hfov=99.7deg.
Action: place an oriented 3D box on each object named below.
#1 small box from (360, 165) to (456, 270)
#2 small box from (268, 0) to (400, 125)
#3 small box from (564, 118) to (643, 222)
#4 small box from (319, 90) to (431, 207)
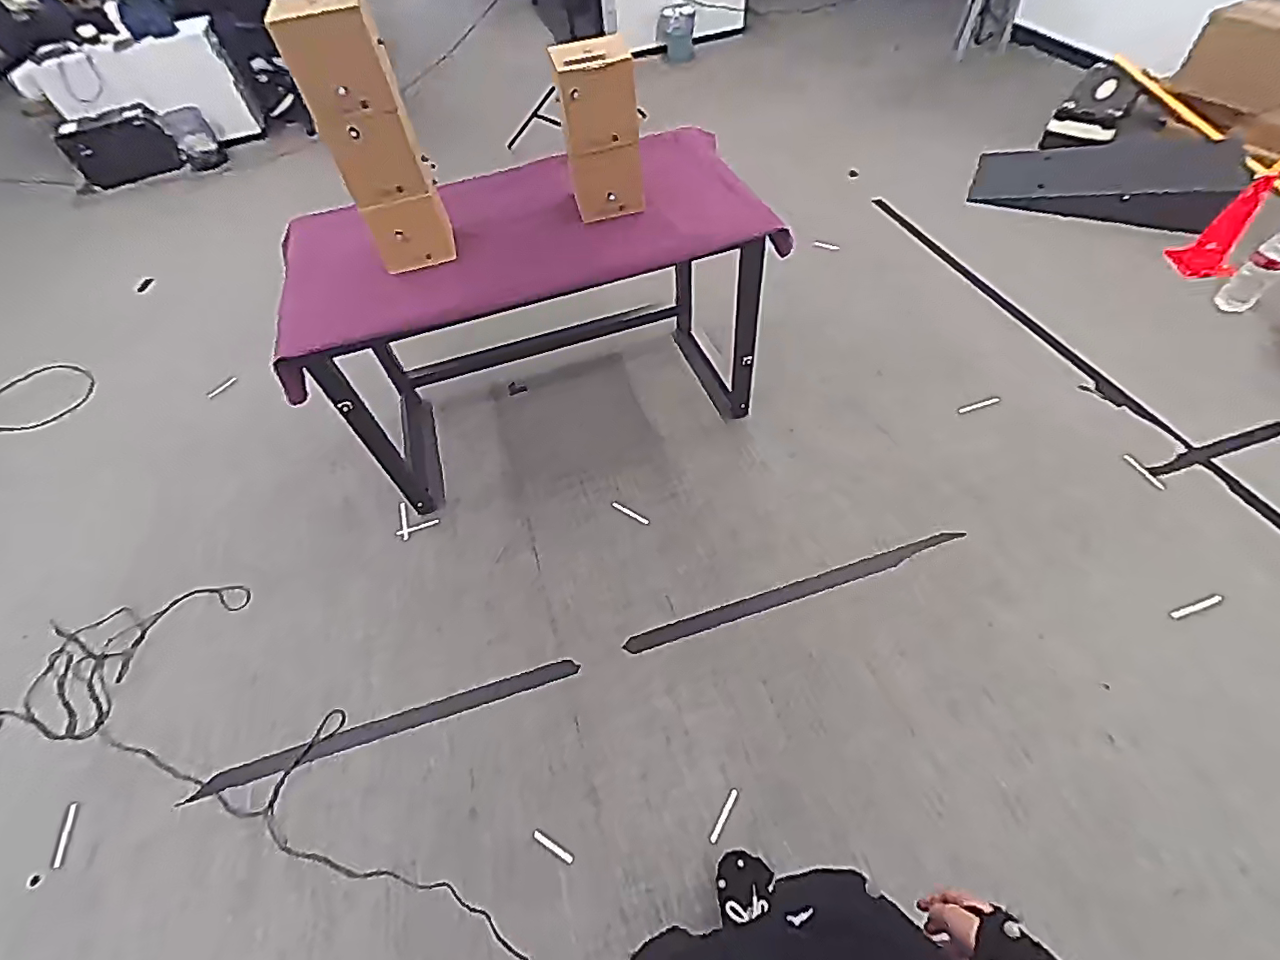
[{"bbox_3d":[-0.565,-0.638,1.330,0.168,0.176,0.179,-16,54,-6],"label":"small box"},{"bbox_3d":[-0.590,-0.835,1.068,0.168,0.176,0.179,-16,55,-6],"label":"small box"},{"bbox_3d":[-0.092,-0.797,1.394,0.168,0.176,0.179,-13,54,-3],"label":"small box"},{"bbox_3d":[-0.581,-0.739,1.202,0.168,0.176,0.179,-17,53,-6],"label":"small box"}]
